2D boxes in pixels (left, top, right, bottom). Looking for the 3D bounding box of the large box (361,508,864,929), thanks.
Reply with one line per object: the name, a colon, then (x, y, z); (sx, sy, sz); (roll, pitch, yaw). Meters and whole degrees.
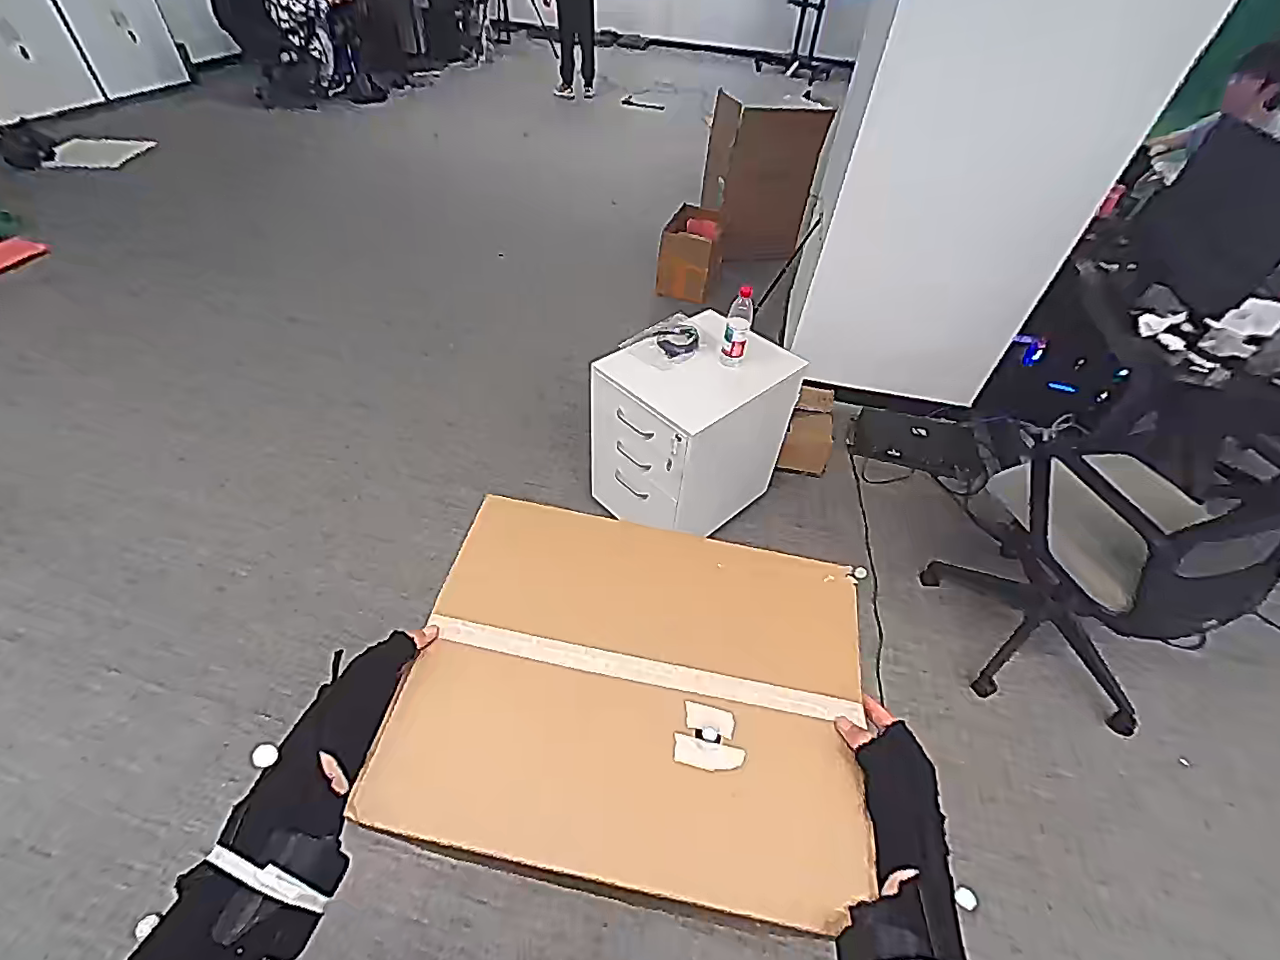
large box: (-0.014, 0.274, 0.620); (0.408, 0.320, 0.320); (12, 52, 3)
